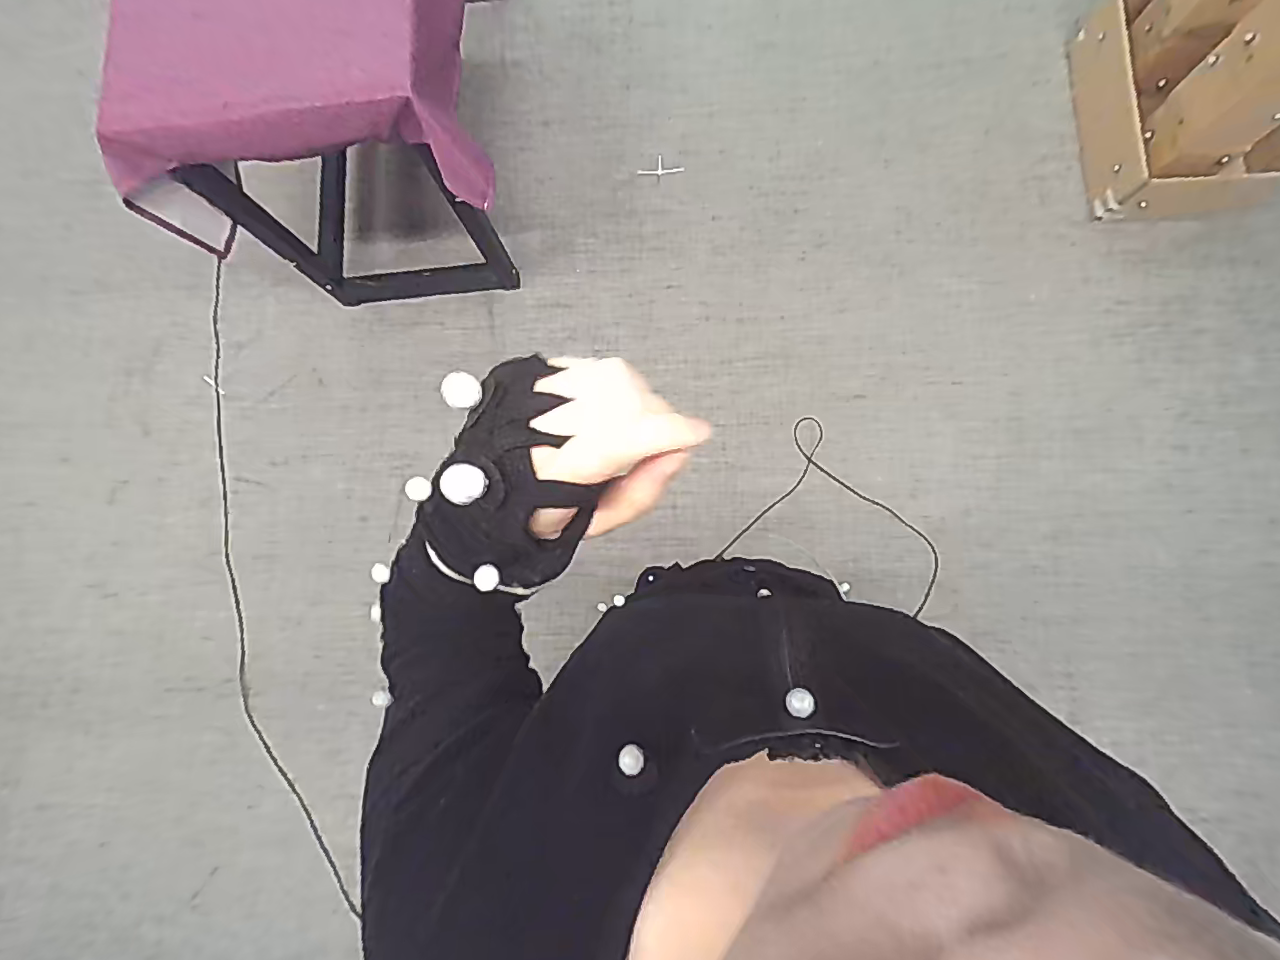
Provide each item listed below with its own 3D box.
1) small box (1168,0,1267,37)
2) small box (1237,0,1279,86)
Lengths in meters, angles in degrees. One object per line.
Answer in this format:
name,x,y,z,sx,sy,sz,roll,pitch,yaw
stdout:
small box,1.473,-1.252,1.345,0.179,0.176,0.168,6,83,4
small box,1.444,-0.973,1.142,0.179,0.176,0.168,2,81,5
